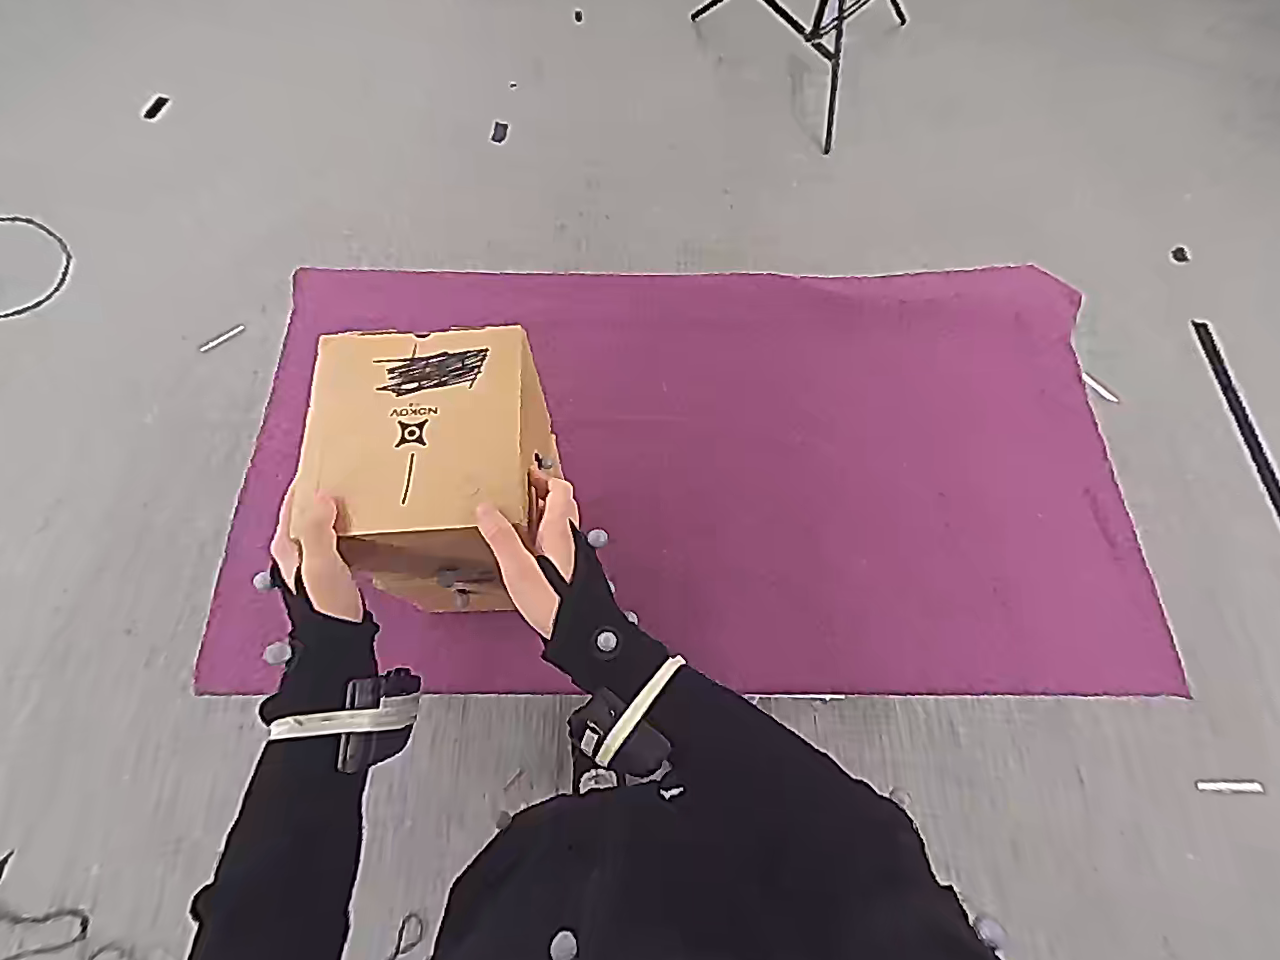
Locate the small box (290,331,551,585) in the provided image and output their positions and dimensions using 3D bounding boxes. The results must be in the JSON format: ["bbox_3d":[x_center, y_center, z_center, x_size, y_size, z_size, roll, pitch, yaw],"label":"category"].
[{"bbox_3d":[-0.175,-0.011,0.491,0.168,0.176,0.179,-4,69,-2],"label":"small box"}]

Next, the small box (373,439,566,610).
[{"bbox_3d":[-0.182,0.058,0.641,0.179,0.176,0.168,-1,68,-1],"label":"small box"}]
